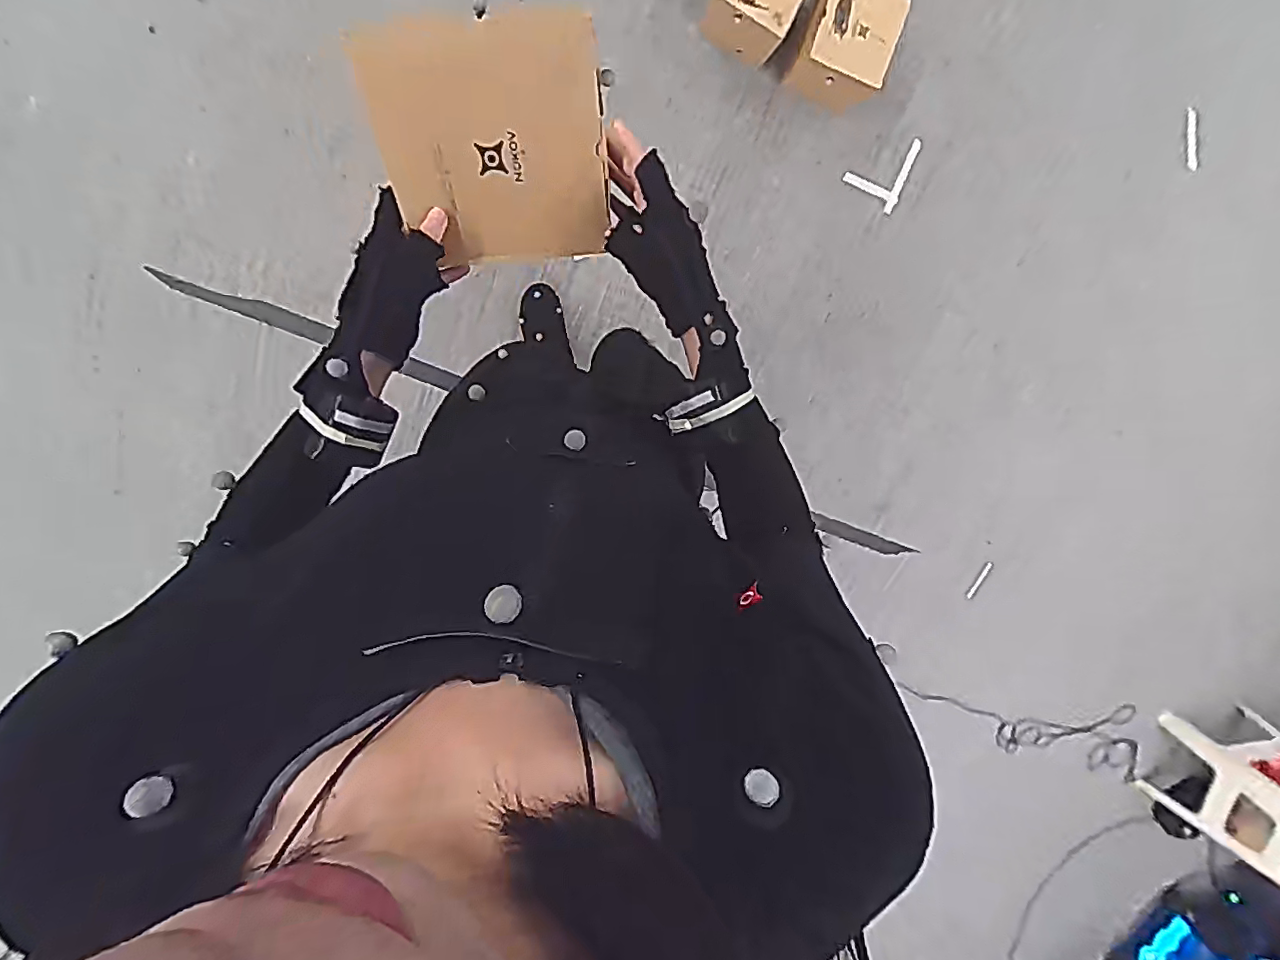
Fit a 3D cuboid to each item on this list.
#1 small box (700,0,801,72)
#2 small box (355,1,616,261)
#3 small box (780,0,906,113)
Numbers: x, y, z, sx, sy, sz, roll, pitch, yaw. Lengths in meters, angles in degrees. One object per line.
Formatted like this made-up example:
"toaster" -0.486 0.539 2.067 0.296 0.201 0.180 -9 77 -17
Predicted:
"small box" 0.244 -1.028 1.149 0.168 0.176 0.179 23 104 -13
"small box" -0.118 -0.315 0.485 0.179 0.176 0.168 -5 133 -3
"small box" 0.438 -0.951 1.199 0.179 0.176 0.168 14 107 -12
